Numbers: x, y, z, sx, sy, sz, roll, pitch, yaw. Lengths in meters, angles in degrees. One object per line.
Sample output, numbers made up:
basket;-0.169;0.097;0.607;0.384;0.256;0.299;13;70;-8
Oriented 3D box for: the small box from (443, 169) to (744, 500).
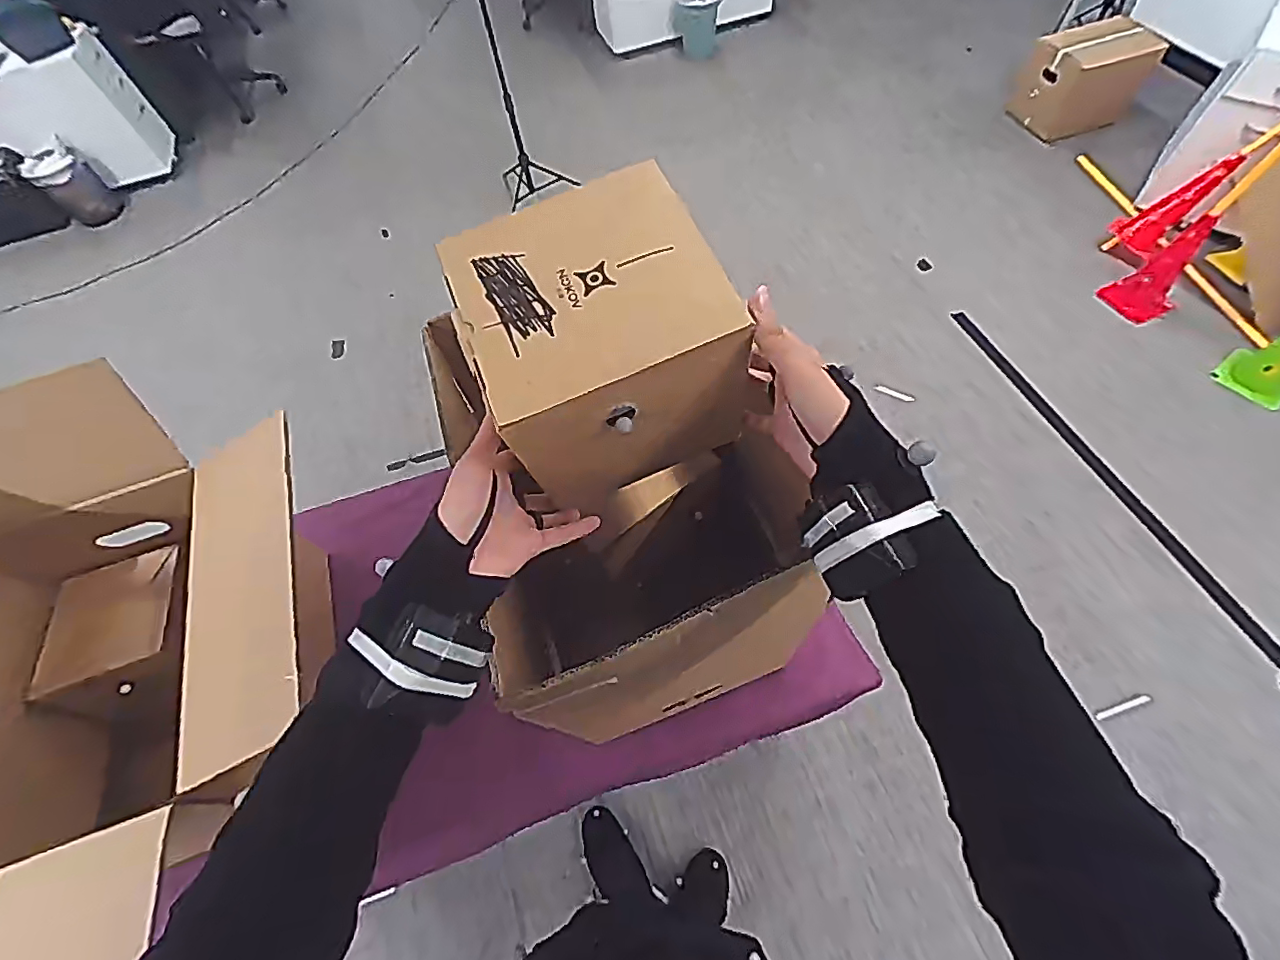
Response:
small box;-0.030;-0.104;0.448;0.179;0.176;0.168;-23;68;-3
